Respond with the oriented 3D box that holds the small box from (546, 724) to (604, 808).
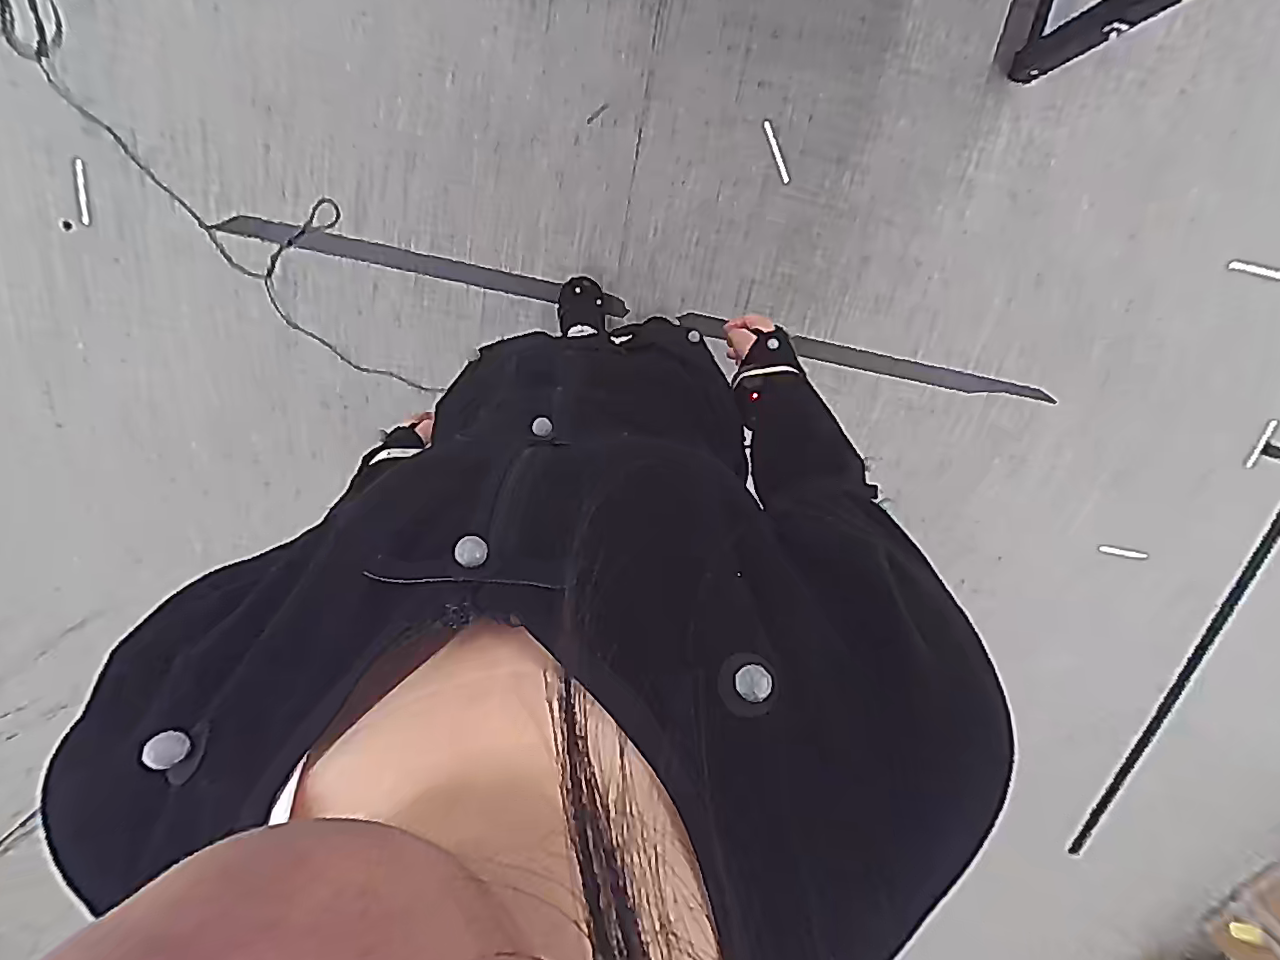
[{"bbox_3d":[-0.207,0.923,1.755,0.168,0.176,0.179,7,109,-3],"label":"small box"}]
